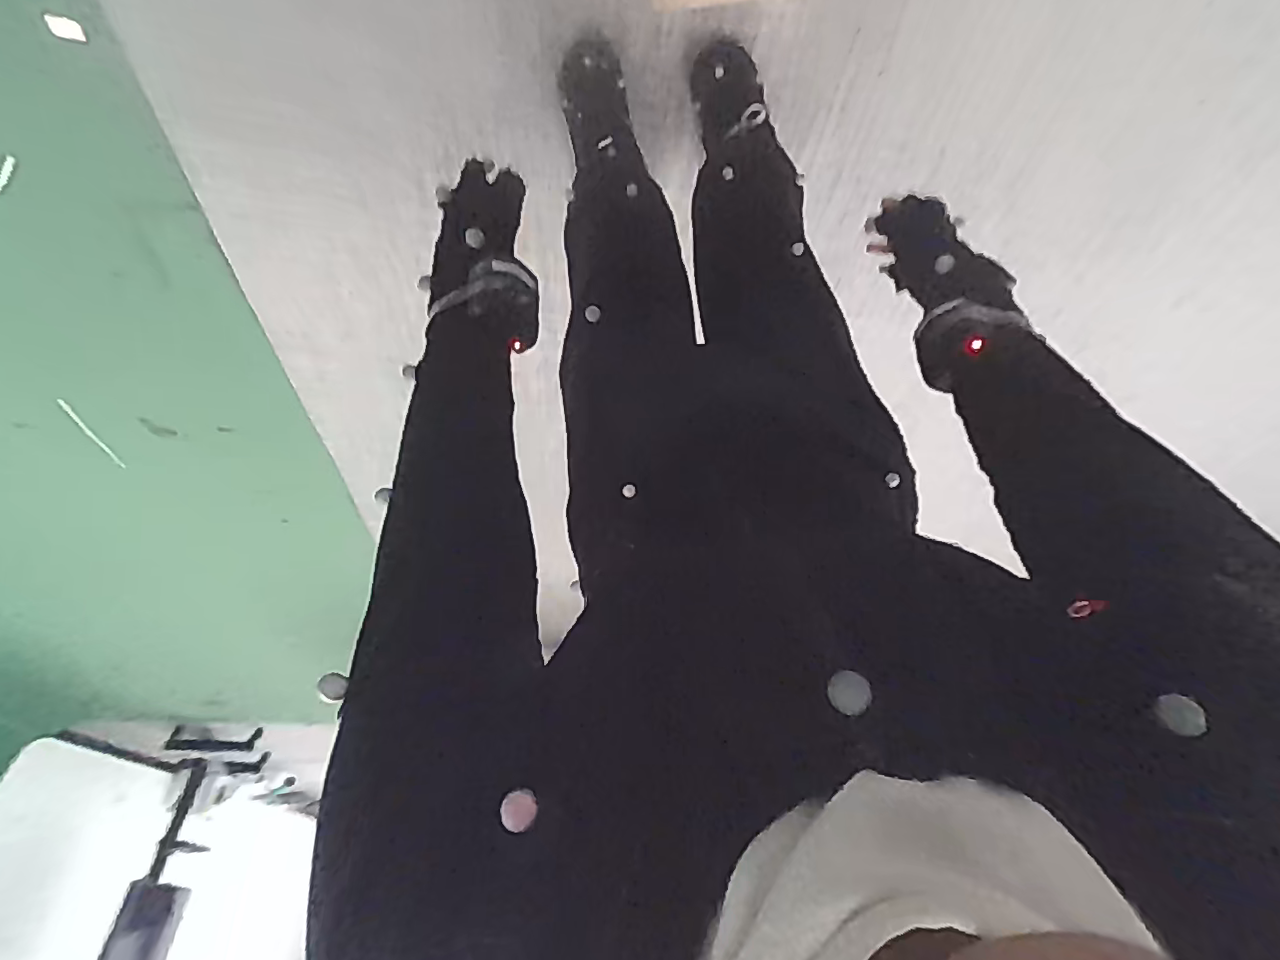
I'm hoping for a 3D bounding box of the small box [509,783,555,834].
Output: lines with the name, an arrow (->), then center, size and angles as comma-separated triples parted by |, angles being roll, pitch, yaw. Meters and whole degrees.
small box -> -0.460, 1.411, 2.323 | 0.179, 0.176, 0.168 | 3, 143, -6
